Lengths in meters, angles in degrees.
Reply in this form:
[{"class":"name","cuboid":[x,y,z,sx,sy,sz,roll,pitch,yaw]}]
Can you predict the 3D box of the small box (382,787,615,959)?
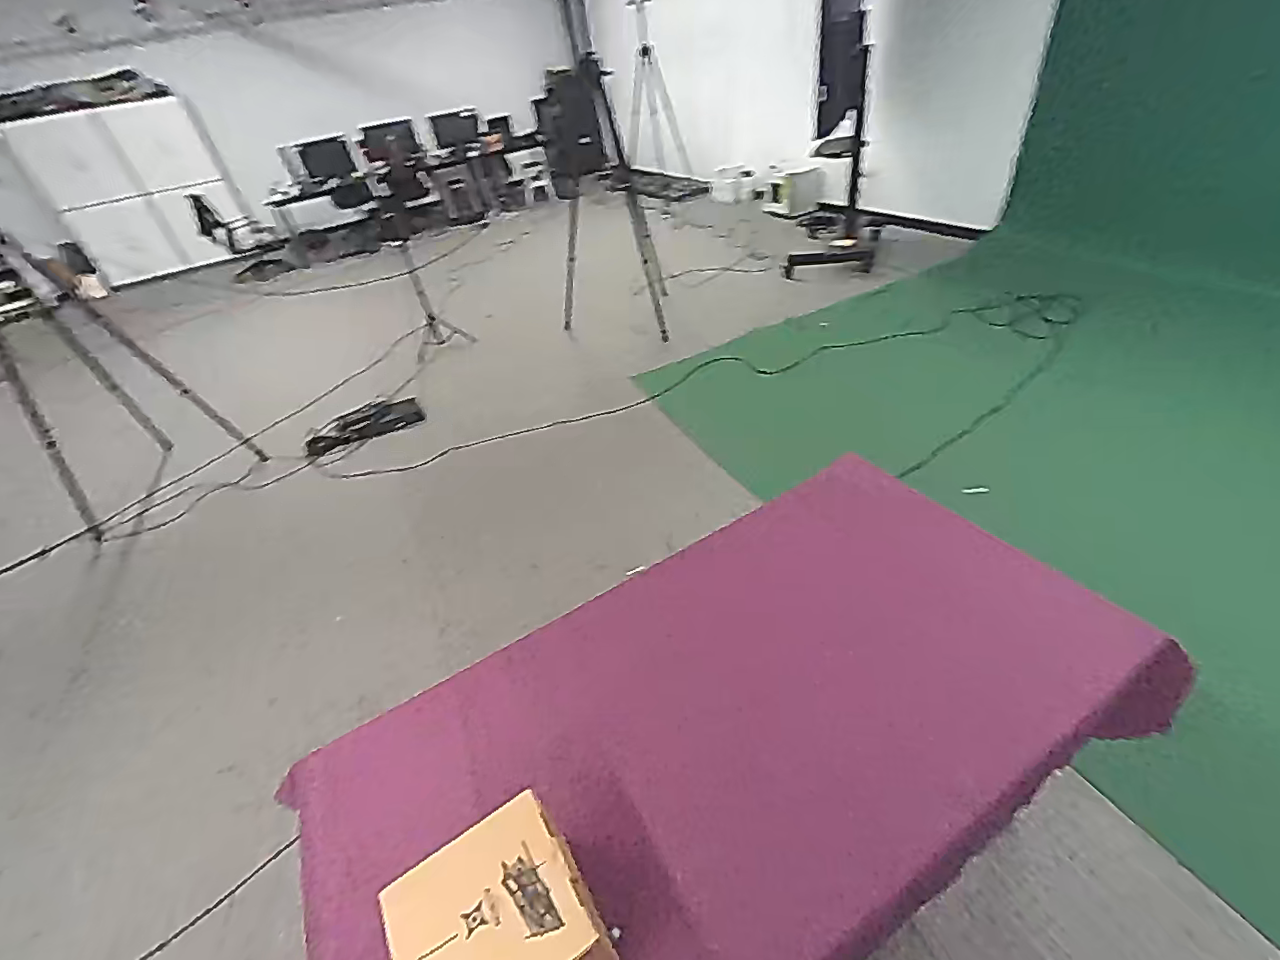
[{"class":"small box","cuboid":[-0.140,0.482,0.579,0.179,0.176,0.168,-29,42,-19]}]
